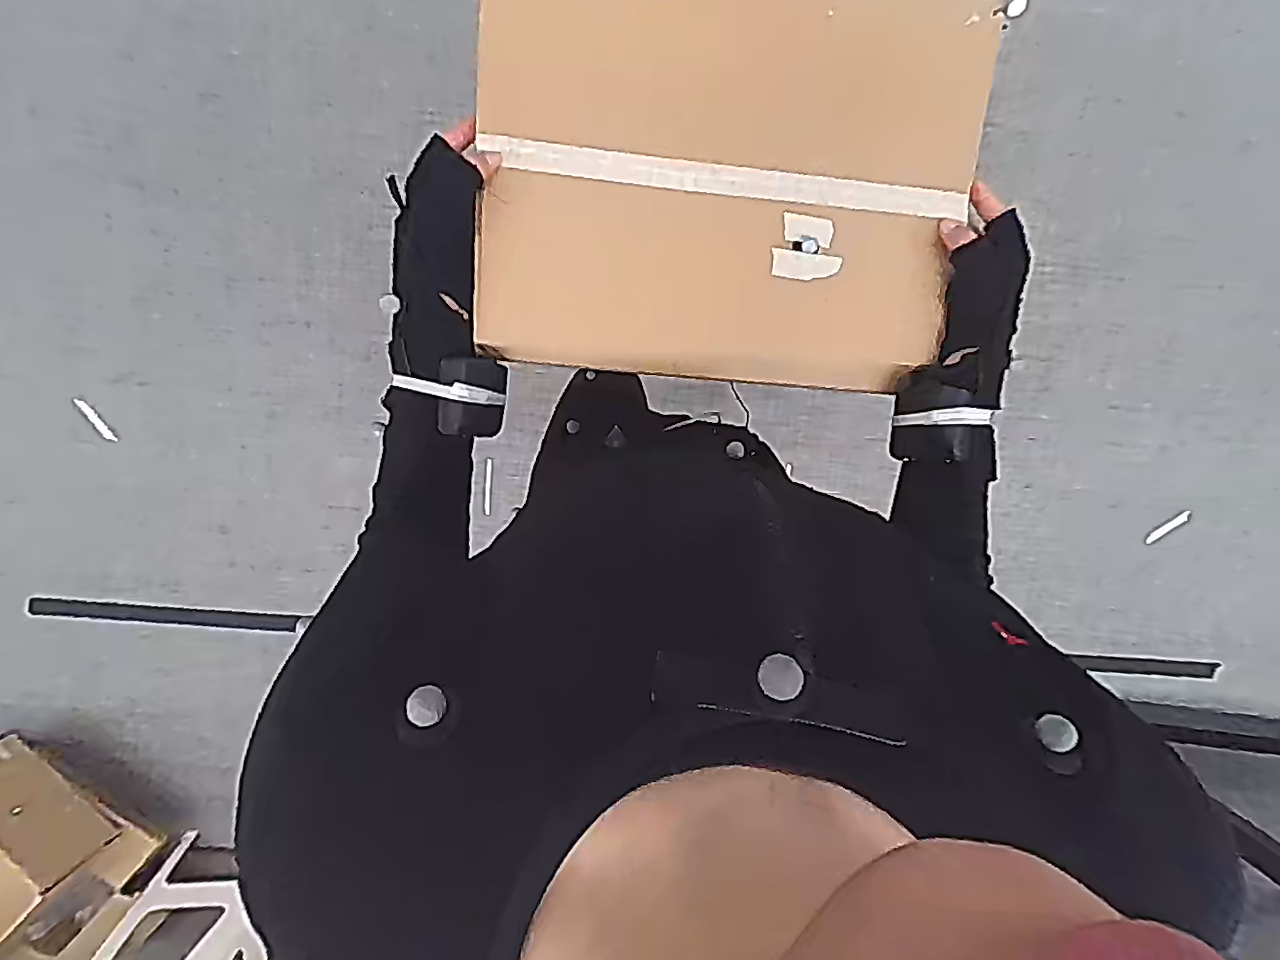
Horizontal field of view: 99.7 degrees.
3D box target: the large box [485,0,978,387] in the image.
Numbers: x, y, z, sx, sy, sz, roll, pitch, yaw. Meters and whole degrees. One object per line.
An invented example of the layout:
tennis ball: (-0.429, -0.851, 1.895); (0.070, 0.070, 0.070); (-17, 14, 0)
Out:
large box: (0.056, -0.277, 0.597); (0.408, 0.320, 0.320); (3, 103, -7)
